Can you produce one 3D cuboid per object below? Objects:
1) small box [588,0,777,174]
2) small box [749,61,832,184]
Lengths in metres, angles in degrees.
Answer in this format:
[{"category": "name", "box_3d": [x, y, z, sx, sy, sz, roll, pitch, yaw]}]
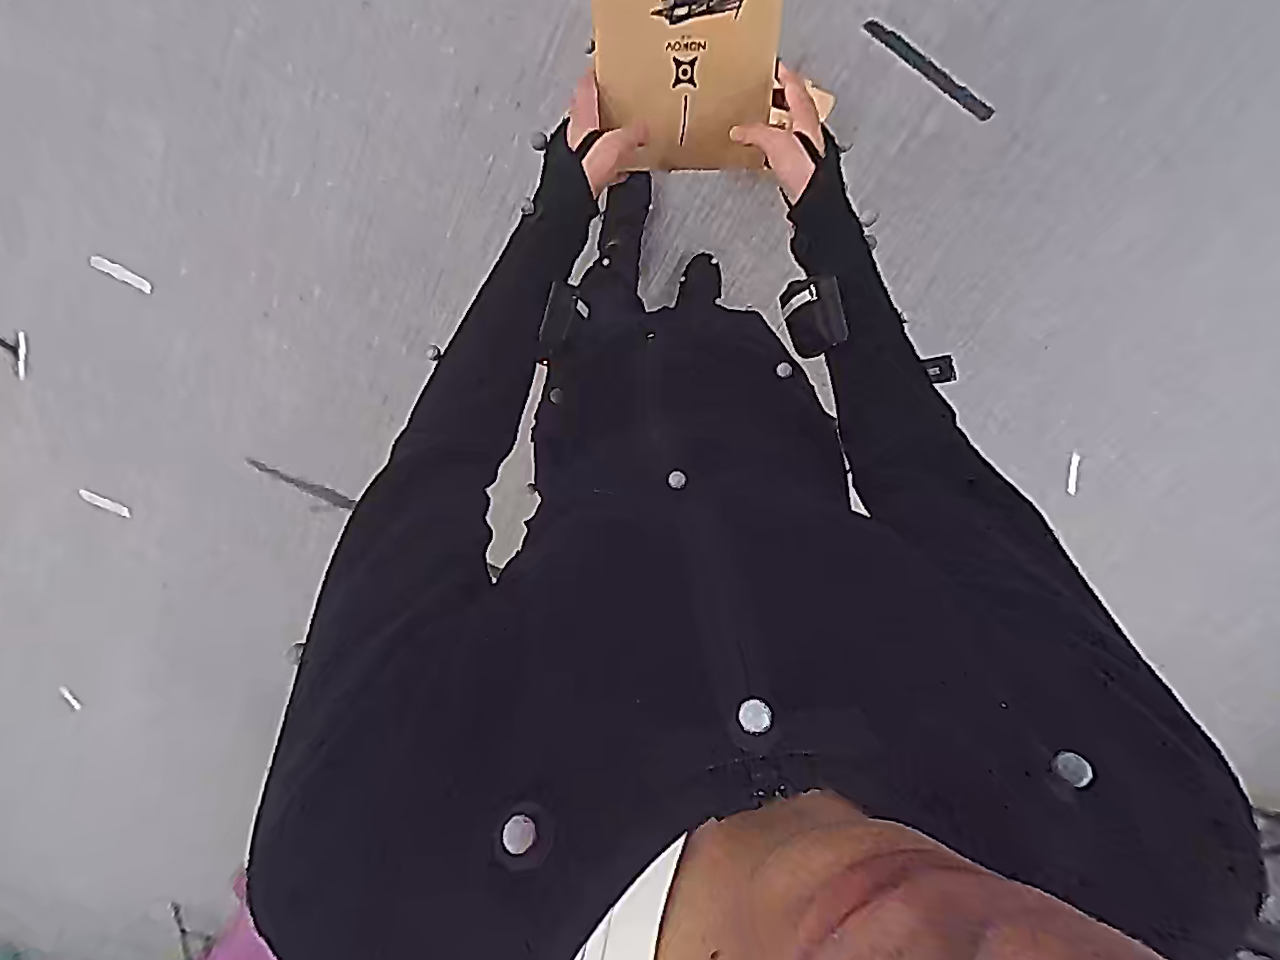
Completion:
[{"category": "small box", "box_3d": [0.032, -0.424, 0.552, 0.168, 0.176, 0.179, -3, 128, -2]}, {"category": "small box", "box_3d": [0.302, -0.806, 1.239, 0.168, 0.176, 0.179, 23, 115, -10]}]
